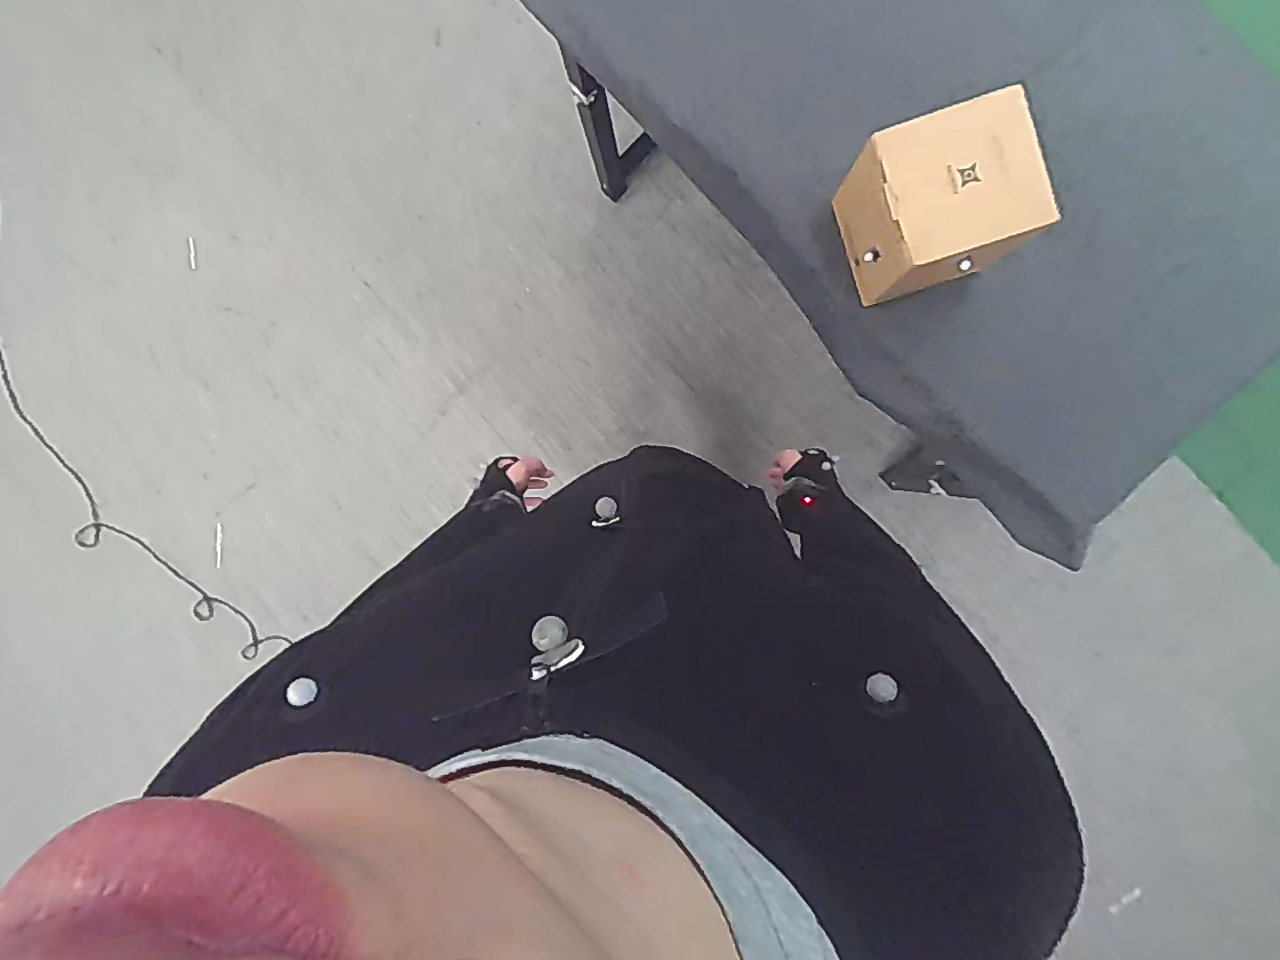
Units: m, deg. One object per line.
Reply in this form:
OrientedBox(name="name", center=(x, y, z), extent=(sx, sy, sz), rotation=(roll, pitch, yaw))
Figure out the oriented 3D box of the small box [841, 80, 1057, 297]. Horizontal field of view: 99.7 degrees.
OrientedBox(name="small box", center=(0.381, -0.359, 0.705), extent=(0.179, 0.176, 0.168), rotation=(-17, 92, 4))
